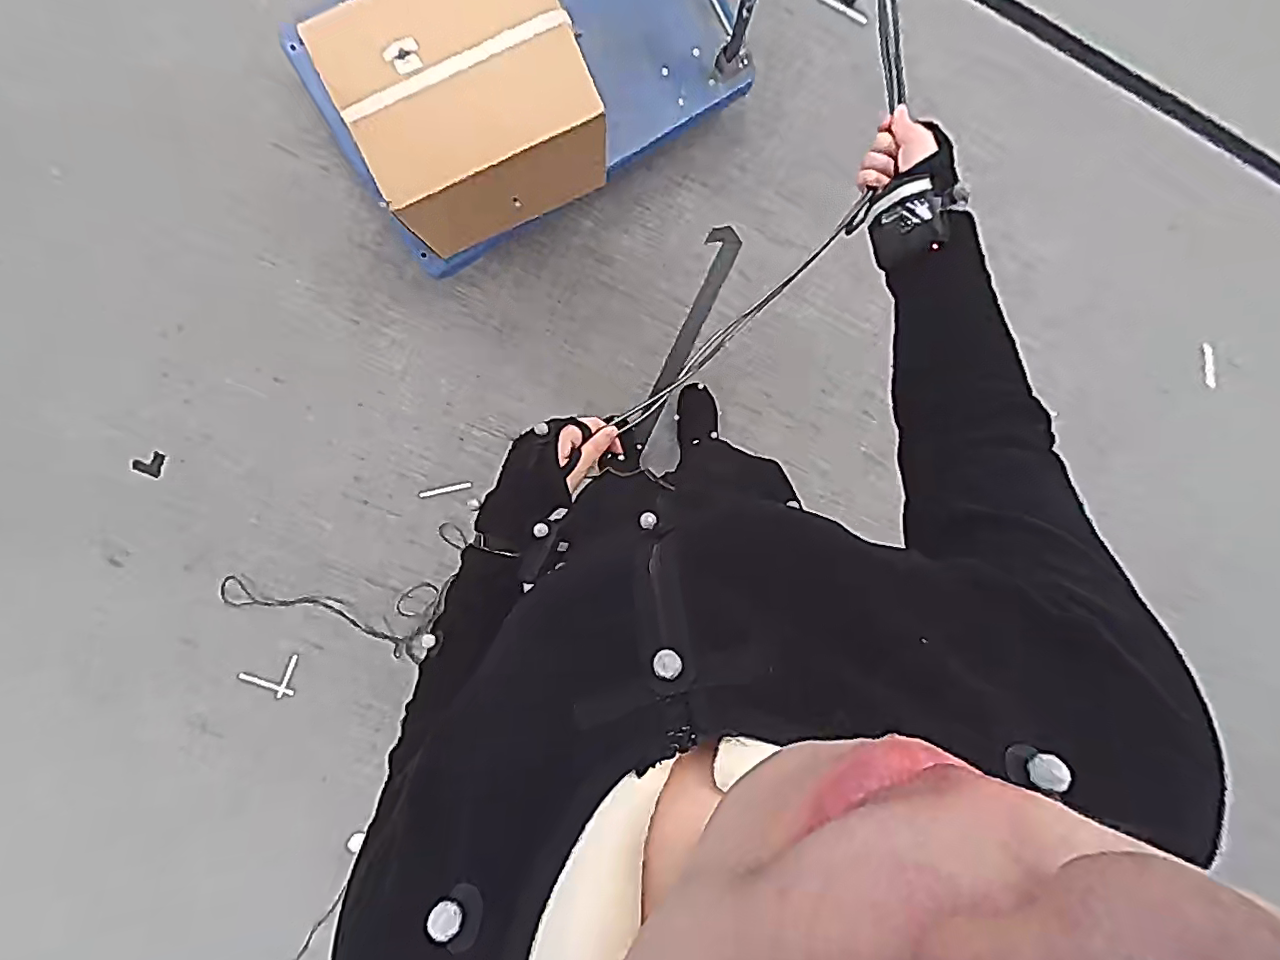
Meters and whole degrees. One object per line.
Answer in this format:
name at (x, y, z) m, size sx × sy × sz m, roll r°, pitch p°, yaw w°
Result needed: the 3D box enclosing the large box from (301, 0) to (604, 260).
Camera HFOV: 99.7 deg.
large box at (-0.311, -0.684, 1.032) m, size 0.408 × 0.320 × 0.320 m, roll -26°, pitch 98°, yaw 1°
